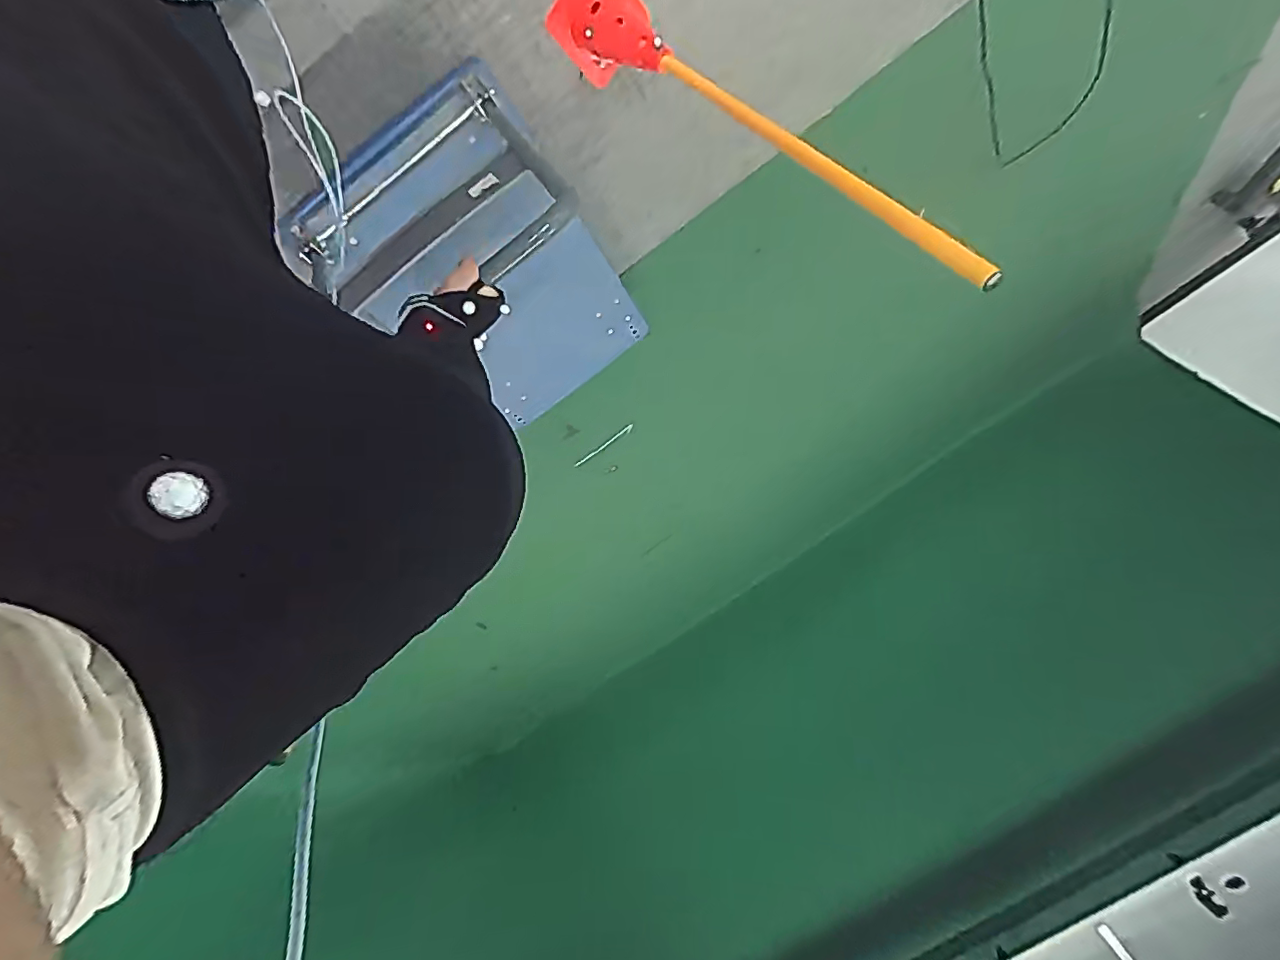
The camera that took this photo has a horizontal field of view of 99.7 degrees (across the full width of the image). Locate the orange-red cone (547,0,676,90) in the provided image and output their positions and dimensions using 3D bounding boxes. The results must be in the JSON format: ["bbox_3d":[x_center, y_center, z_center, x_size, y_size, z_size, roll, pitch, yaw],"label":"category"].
[{"bbox_3d":[-0.022,-0.945,1.167,0.199,0.360,0.198,-45,144,18],"label":"orange-red cone"}]
